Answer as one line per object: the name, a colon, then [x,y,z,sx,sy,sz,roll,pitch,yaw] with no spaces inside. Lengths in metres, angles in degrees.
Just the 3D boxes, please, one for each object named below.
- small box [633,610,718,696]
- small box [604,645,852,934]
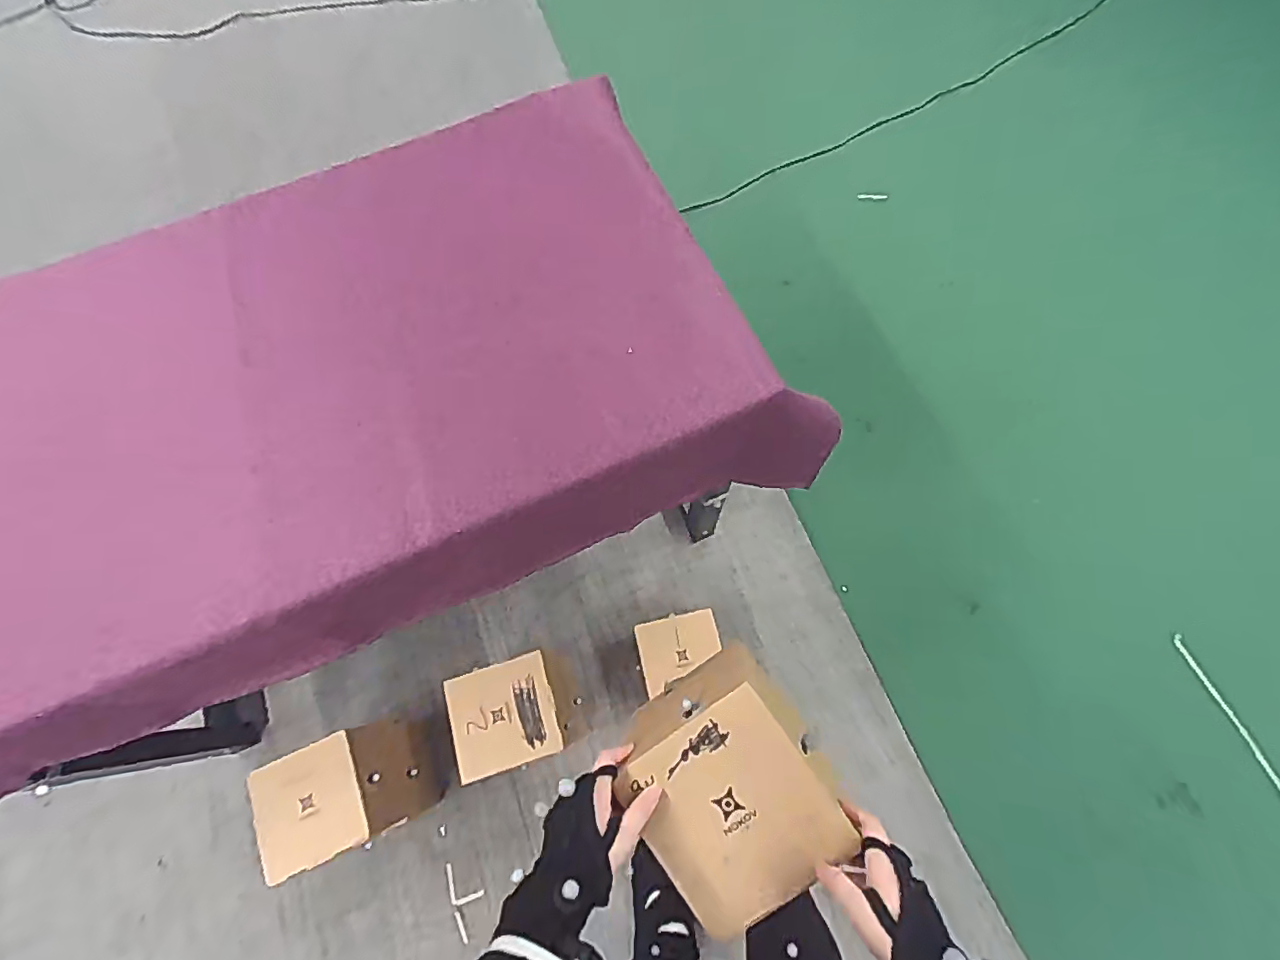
small box: [0.084,0.390,1.155,0.168,0.176,0.179,-12,69,-3]
small box: [0.089,0.307,0.580,0.168,0.176,0.179,-37,83,3]
